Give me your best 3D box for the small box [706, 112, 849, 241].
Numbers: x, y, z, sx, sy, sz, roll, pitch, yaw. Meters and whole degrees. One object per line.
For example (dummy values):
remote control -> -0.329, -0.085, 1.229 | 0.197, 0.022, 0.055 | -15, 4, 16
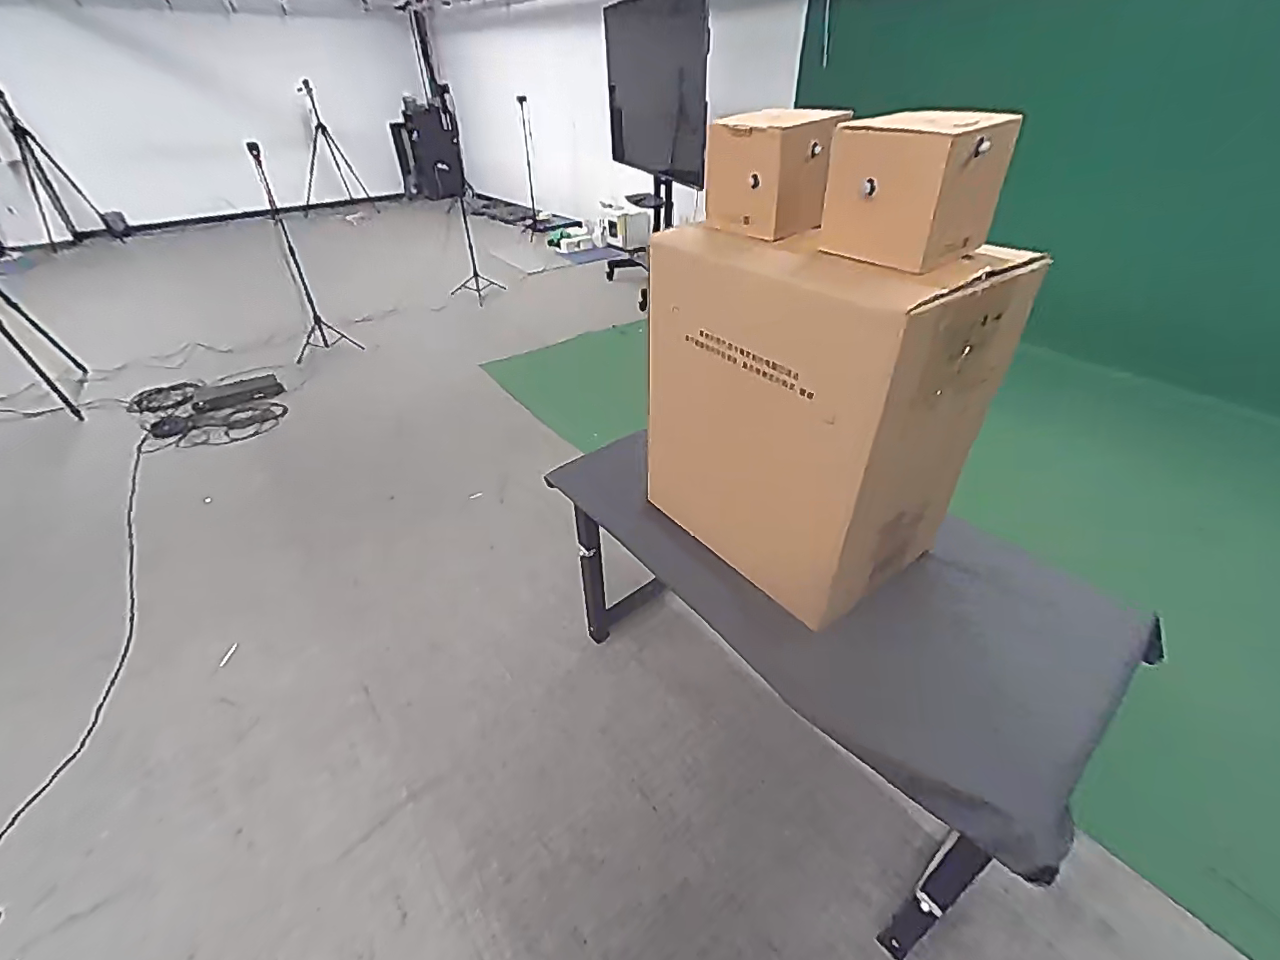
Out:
small box -> 0.233, -0.534, 0.948 | 0.179, 0.176, 0.168 | -28, 45, -27

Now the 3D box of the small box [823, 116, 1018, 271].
small box -> 0.389, -0.416, 0.782 | 0.168, 0.176, 0.179 | -28, 43, -25
